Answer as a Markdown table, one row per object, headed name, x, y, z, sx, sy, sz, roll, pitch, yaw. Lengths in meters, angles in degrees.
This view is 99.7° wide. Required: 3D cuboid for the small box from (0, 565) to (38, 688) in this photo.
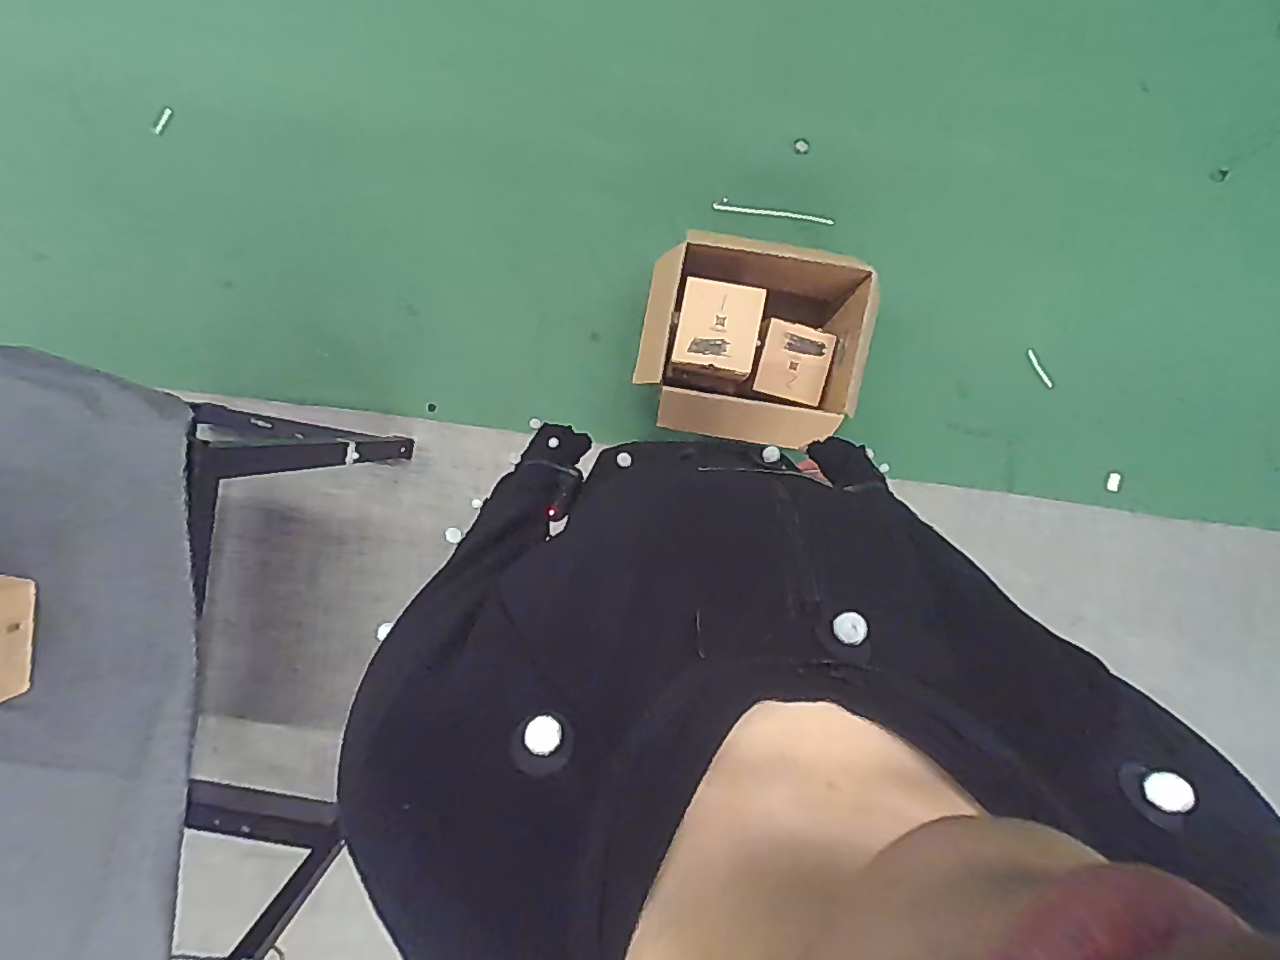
| name | x | y | z | sx | sy | sz | roll | pitch | yaw |
| --- | --- | --- | --- | --- | --- | --- | --- | --- | --- |
| small box | -0.950 | 0.203 | 0.698 | 0.179 | 0.176 | 0.168 | 9 | 96 | 1 |
